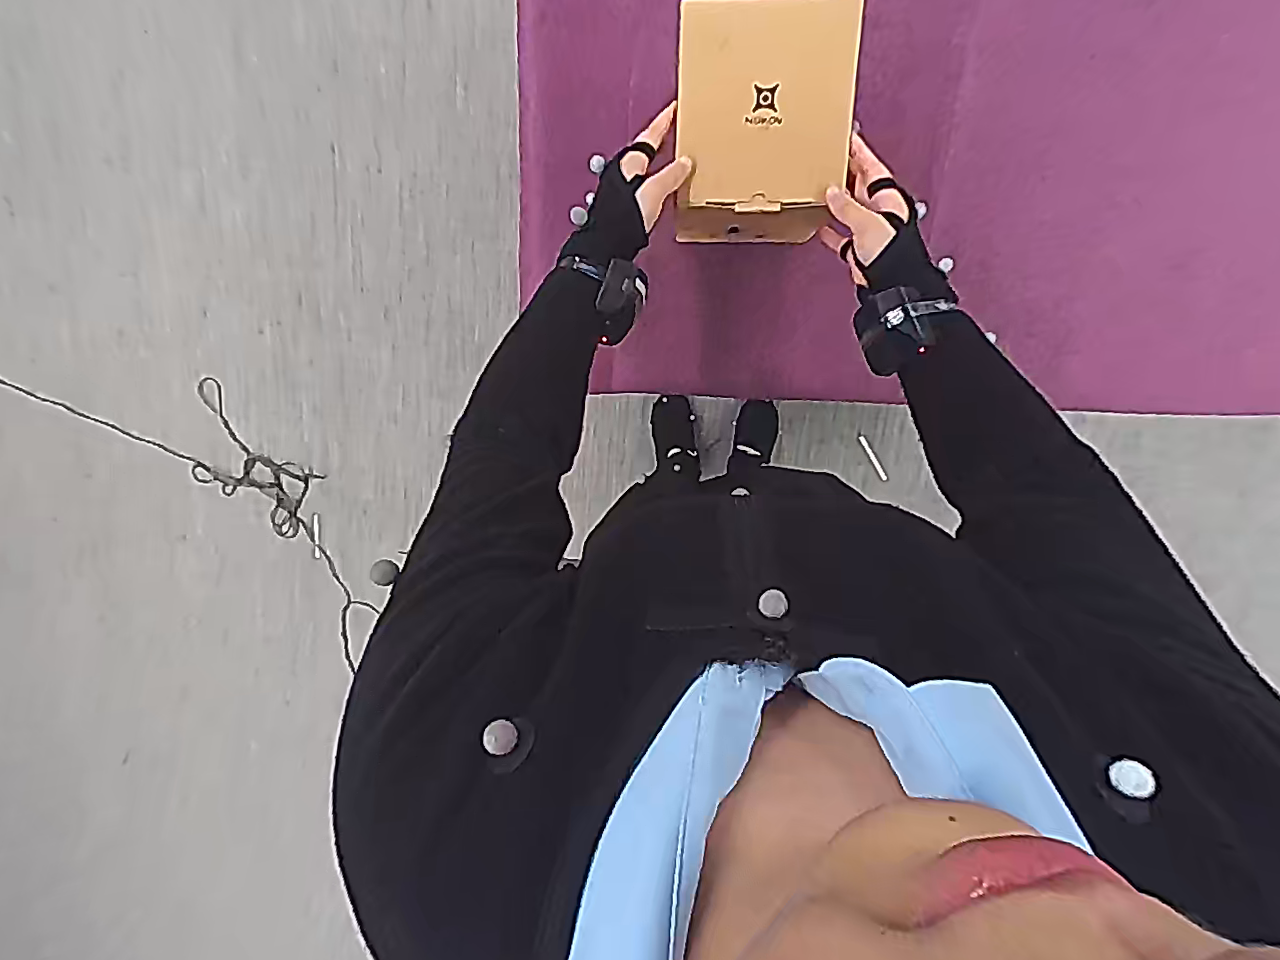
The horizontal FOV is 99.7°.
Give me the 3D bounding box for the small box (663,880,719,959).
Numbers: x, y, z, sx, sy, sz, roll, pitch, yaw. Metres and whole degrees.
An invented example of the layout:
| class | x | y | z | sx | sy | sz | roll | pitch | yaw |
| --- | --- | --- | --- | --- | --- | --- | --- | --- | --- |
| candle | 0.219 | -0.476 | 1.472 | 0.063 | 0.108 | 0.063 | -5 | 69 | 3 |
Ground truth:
| class | x | y | z | sx | sy | sz | roll | pitch | yaw |
| --- | --- | --- | --- | --- | --- | --- | --- | --- | --- |
| small box | 0.156 | 1.387 | 1.676 | 0.168 | 0.176 | 0.179 | 1 | 102 | 6 |
